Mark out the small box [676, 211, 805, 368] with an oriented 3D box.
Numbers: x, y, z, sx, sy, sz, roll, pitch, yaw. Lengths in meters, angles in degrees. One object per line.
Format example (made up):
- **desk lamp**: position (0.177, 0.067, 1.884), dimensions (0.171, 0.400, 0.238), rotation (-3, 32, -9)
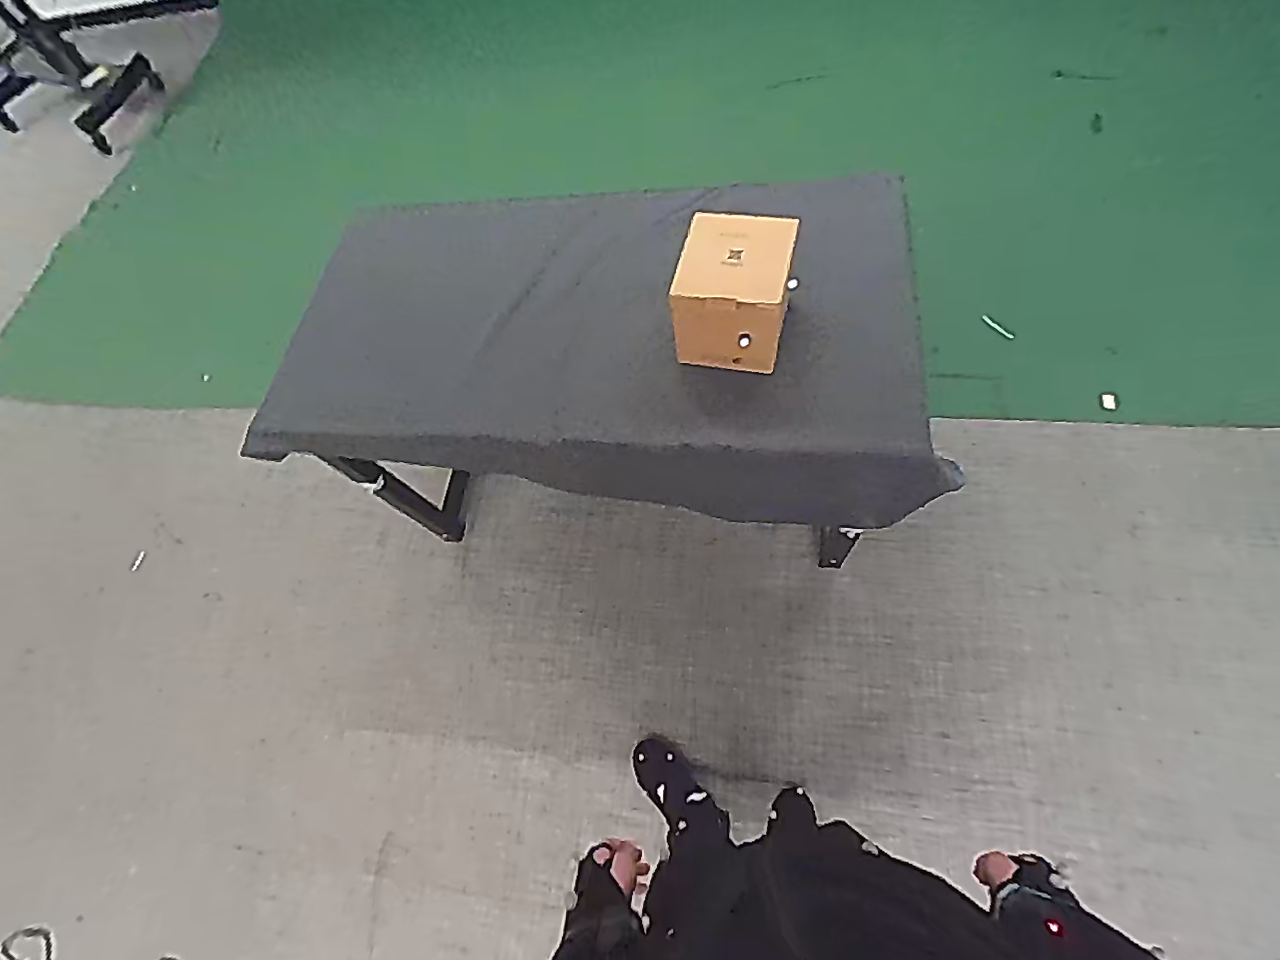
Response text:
- **small box**: position (0.166, -0.309, 0.894), dimensions (0.168, 0.176, 0.179), rotation (12, 67, 13)
